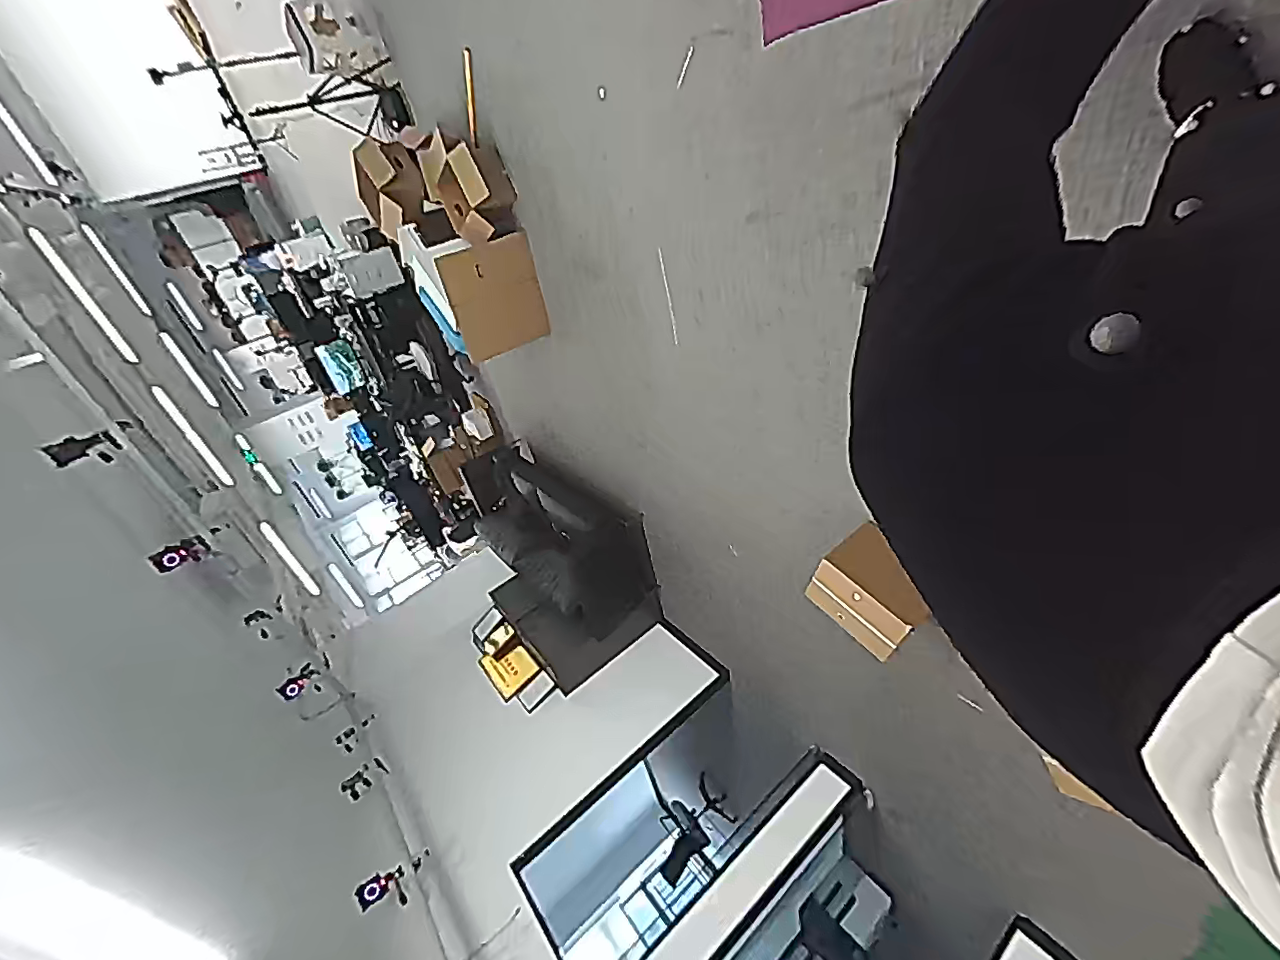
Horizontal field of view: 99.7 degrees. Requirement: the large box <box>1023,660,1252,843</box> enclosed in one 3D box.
[{"bbox_3d":[1.516,0.797,1.667,0.320,0.320,0.408,60,154,-6],"label":"large box"}]
